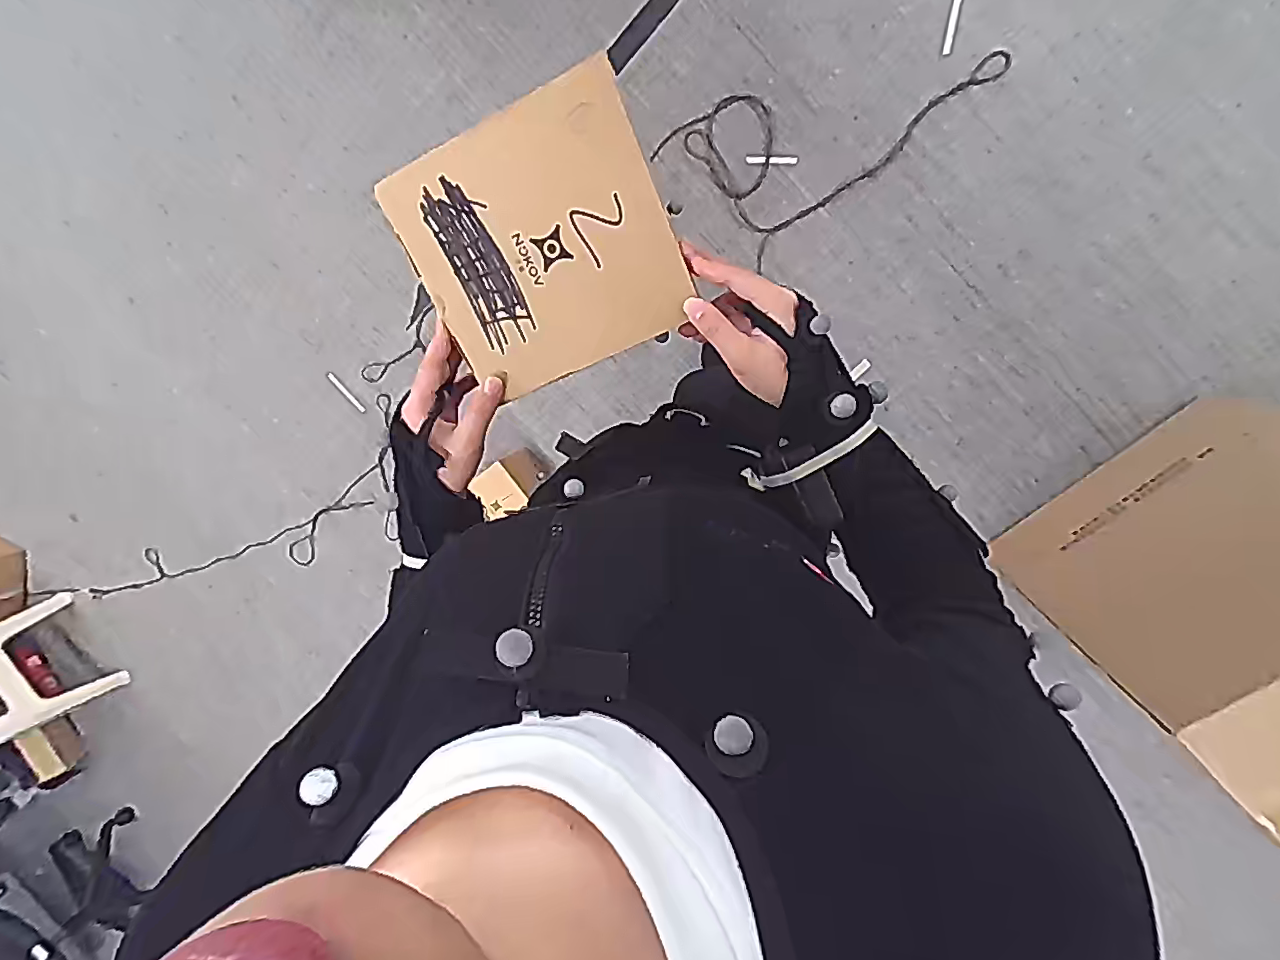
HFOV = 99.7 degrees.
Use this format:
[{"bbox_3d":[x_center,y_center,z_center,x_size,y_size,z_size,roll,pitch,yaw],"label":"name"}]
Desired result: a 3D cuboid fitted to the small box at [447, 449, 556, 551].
[{"bbox_3d":[-0.340,0.045,1.366,0.179,0.176,0.168,-35,97,15],"label":"small box"}]
